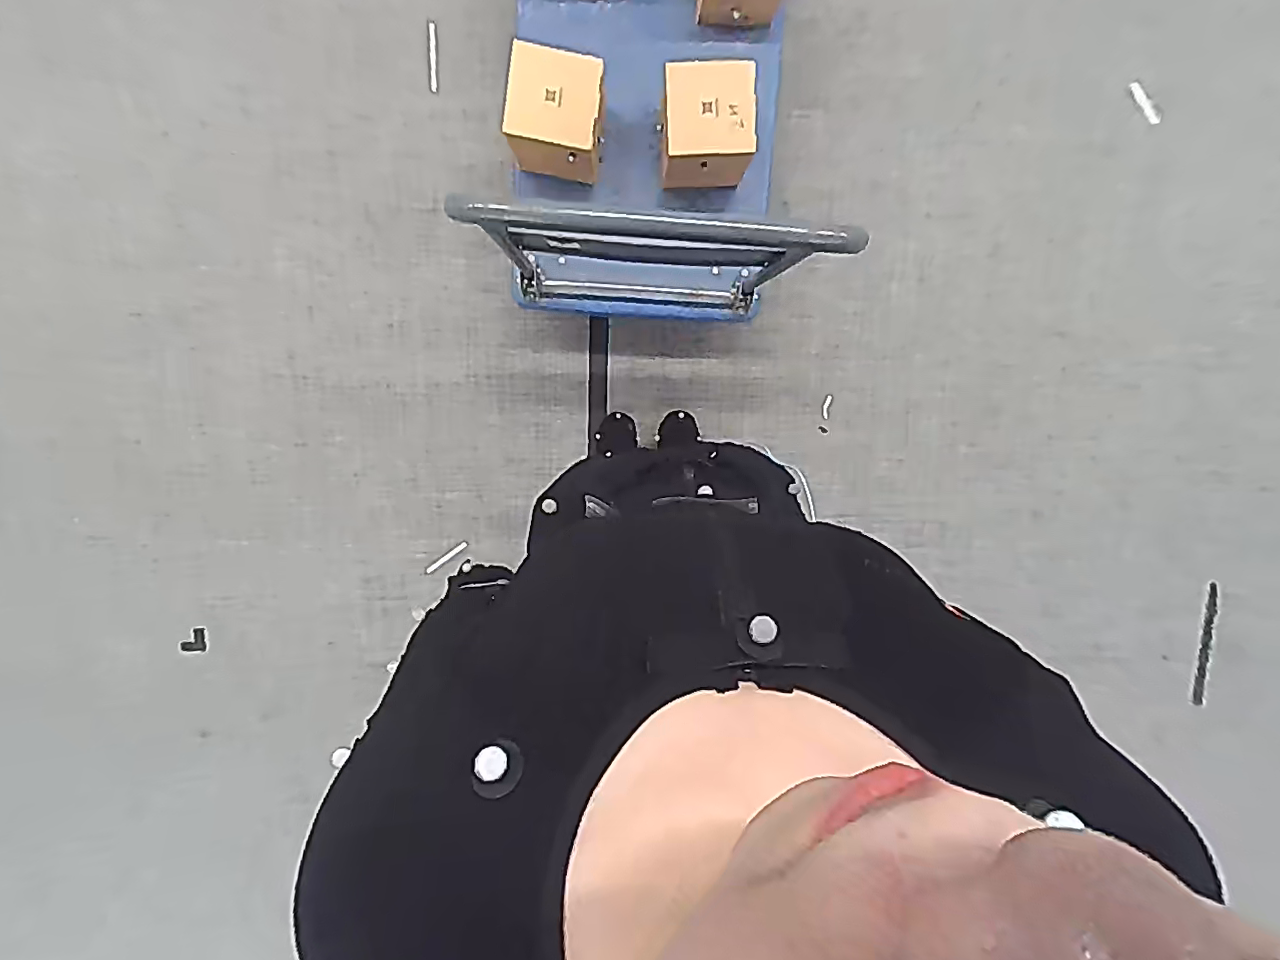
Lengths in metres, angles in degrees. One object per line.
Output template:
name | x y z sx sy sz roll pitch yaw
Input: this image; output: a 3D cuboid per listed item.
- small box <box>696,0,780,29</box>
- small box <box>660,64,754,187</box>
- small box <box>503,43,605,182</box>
small box | 0.206 -1.058 1.082 0.168 0.176 0.179 0 100 -2
small box | 0.133 -0.729 1.129 0.179 0.176 0.168 -2 99 -2
small box | -0.170 -0.744 1.115 0.179 0.176 0.168 9 98 -5
